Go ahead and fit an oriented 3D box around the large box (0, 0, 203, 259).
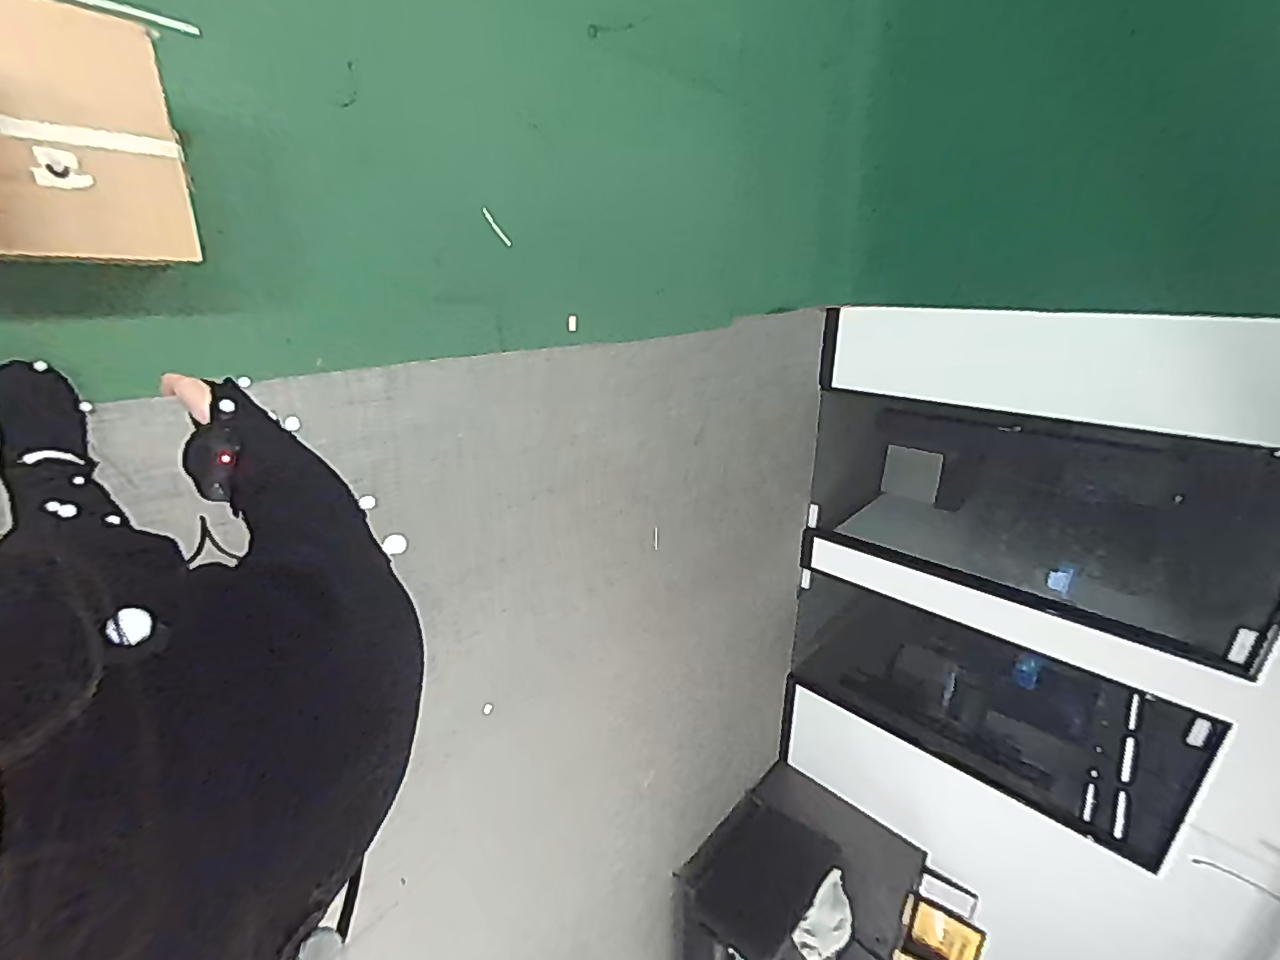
[{"bbox_3d":[-0.935,-0.487,0.764,0.408,0.320,0.320,-19,119,-44],"label":"large box"}]
